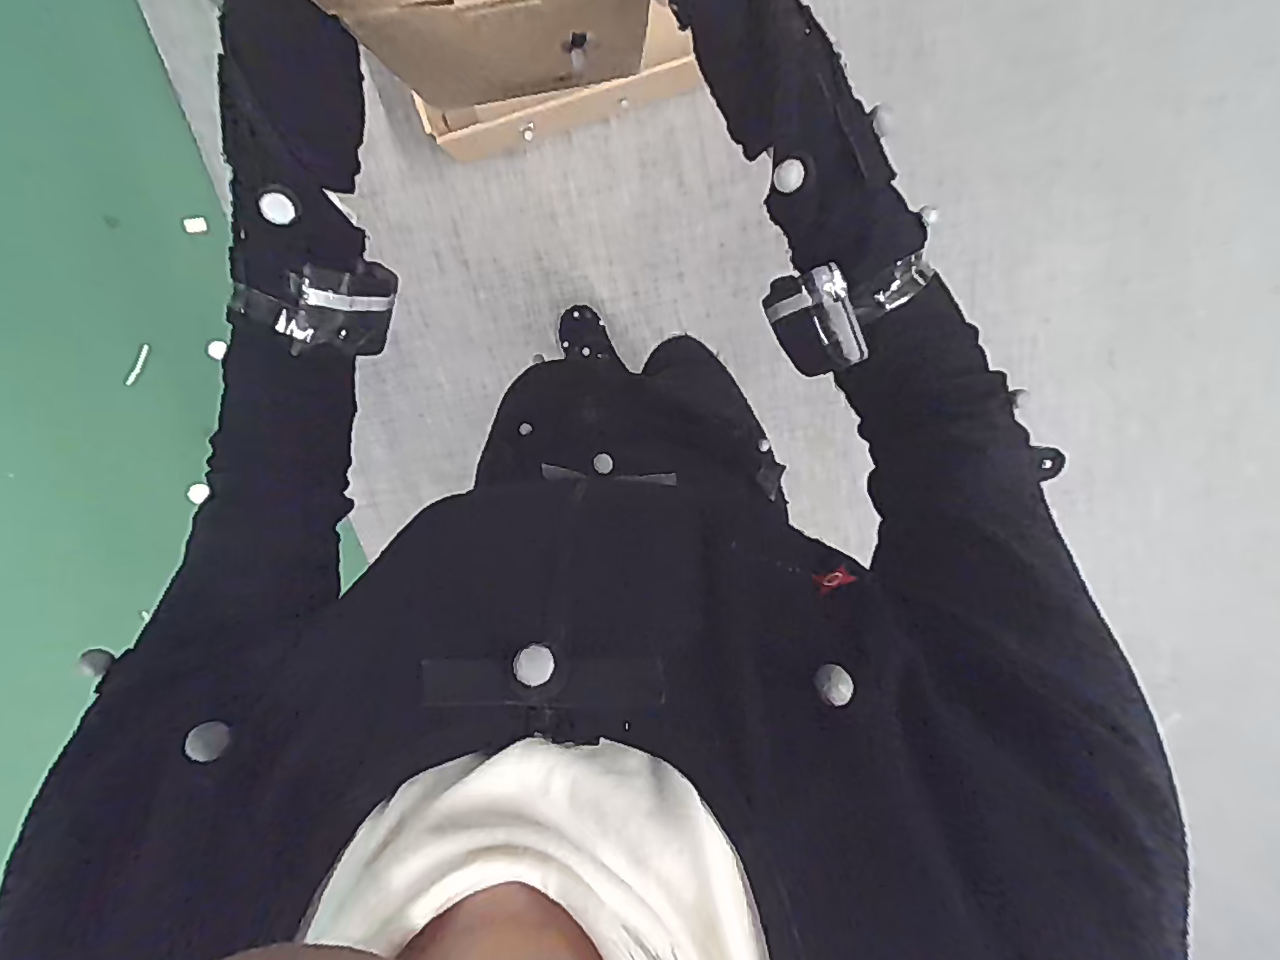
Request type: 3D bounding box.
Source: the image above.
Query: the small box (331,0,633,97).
[{"bbox_3d":[-0.095,-0.358,0.324,0.168,0.176,0.179,-10,110,0],"label":"small box"}]
